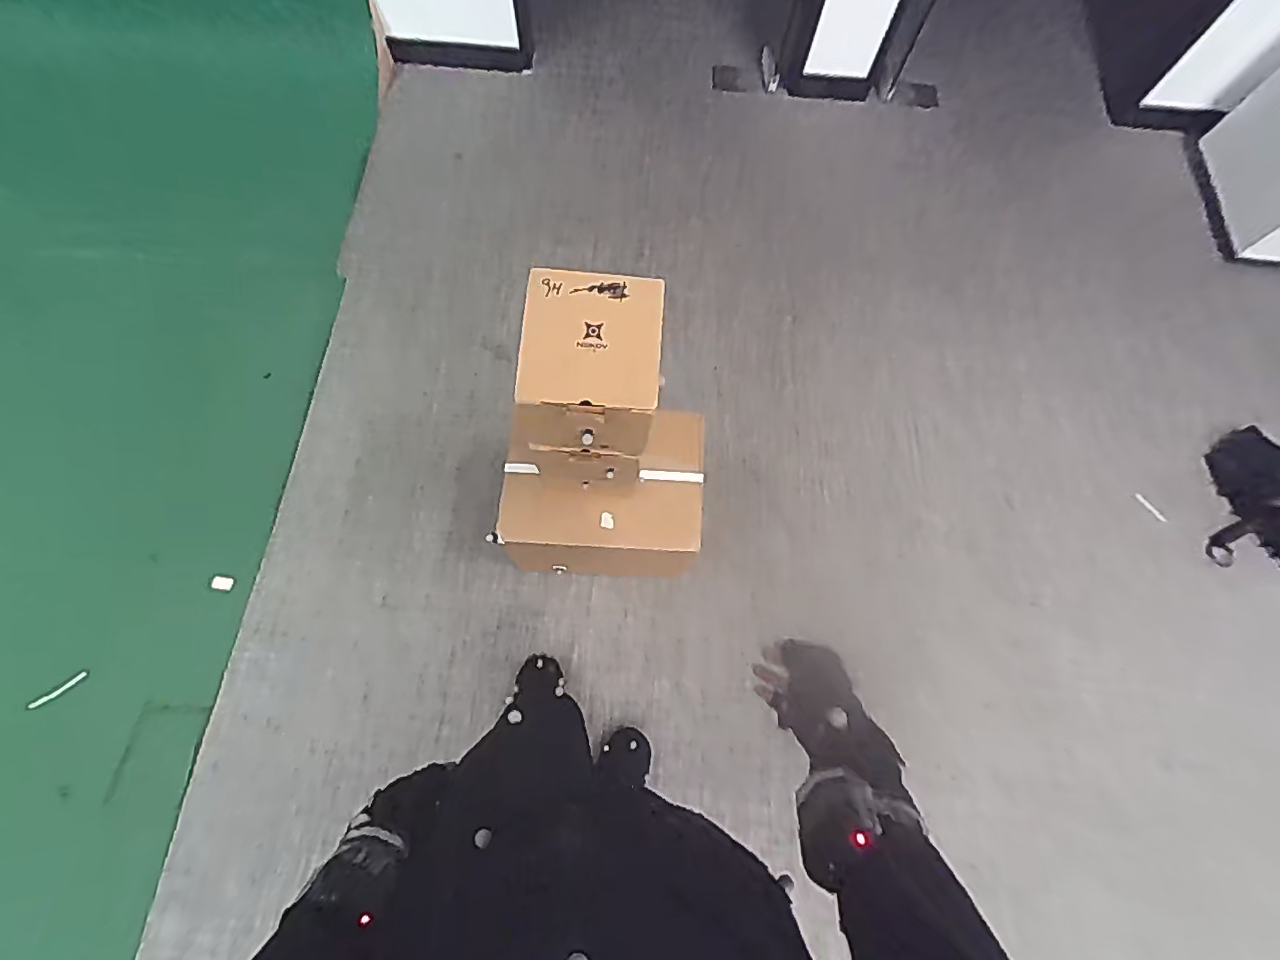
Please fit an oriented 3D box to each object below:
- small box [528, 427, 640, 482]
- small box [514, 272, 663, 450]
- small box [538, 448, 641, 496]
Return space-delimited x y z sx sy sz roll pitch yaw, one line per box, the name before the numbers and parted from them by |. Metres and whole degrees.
small box | -0.079 -0.100 0.876 0.168 0.176 0.179 4 75 -3
small box | -0.062 -0.146 0.720 0.168 0.176 0.179 4 77 -3
small box | -0.085 -0.074 1.034 0.179 0.176 0.168 10 74 0
